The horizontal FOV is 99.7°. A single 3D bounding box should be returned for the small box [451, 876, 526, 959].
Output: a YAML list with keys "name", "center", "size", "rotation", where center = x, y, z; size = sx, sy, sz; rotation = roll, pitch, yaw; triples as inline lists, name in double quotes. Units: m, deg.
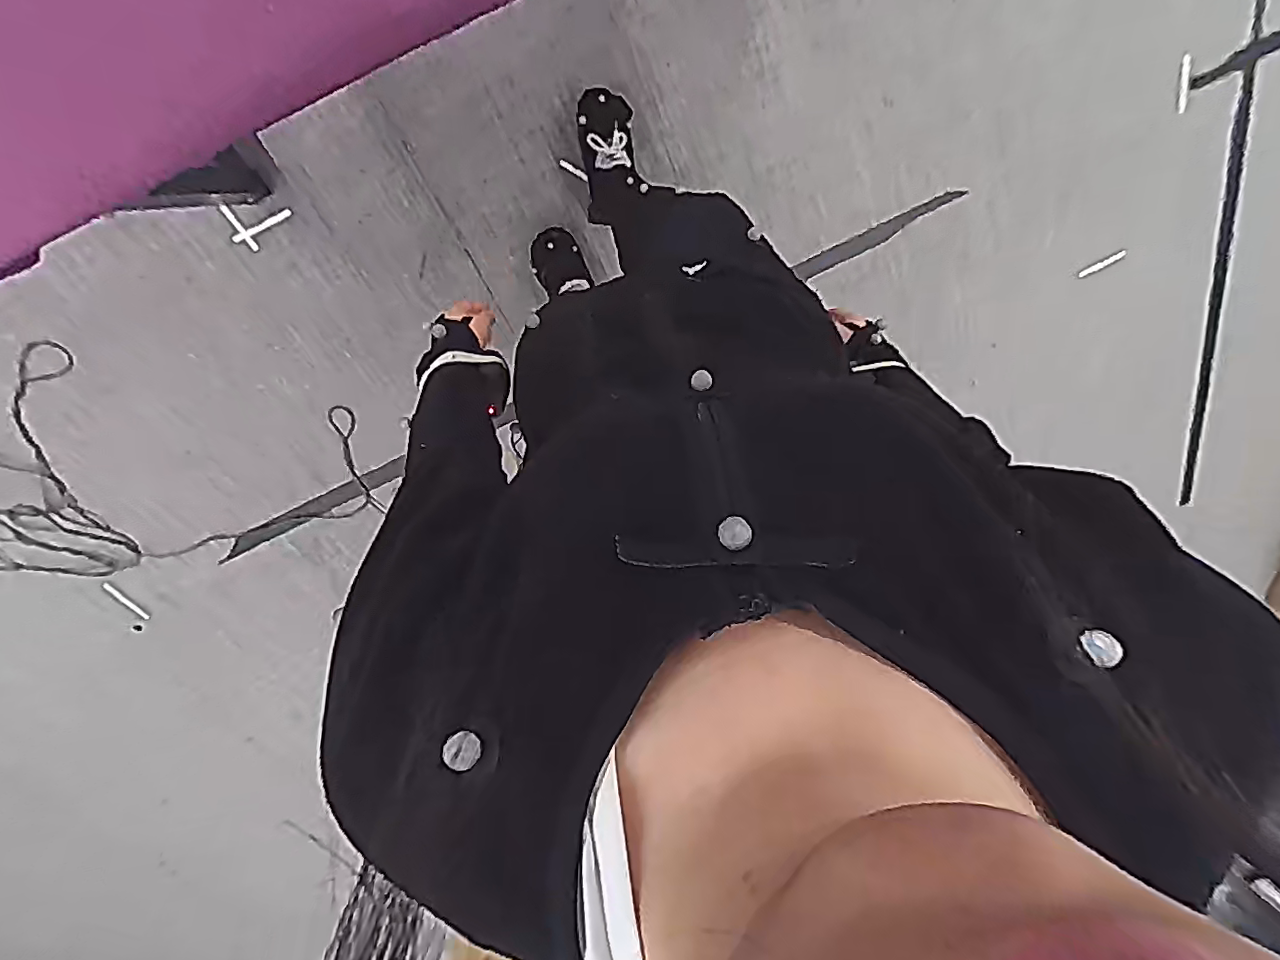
- name: "small box"
  center: [-0.434, 1.285, 1.559]
  size: [0.168, 0.176, 0.179]
  rotation: [18, 112, -22]

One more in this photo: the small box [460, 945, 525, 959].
- name: "small box"
  center: [-0.403, 1.356, 1.416]
  size: [0.168, 0.176, 0.179]
  rotation: [18, 112, -21]
